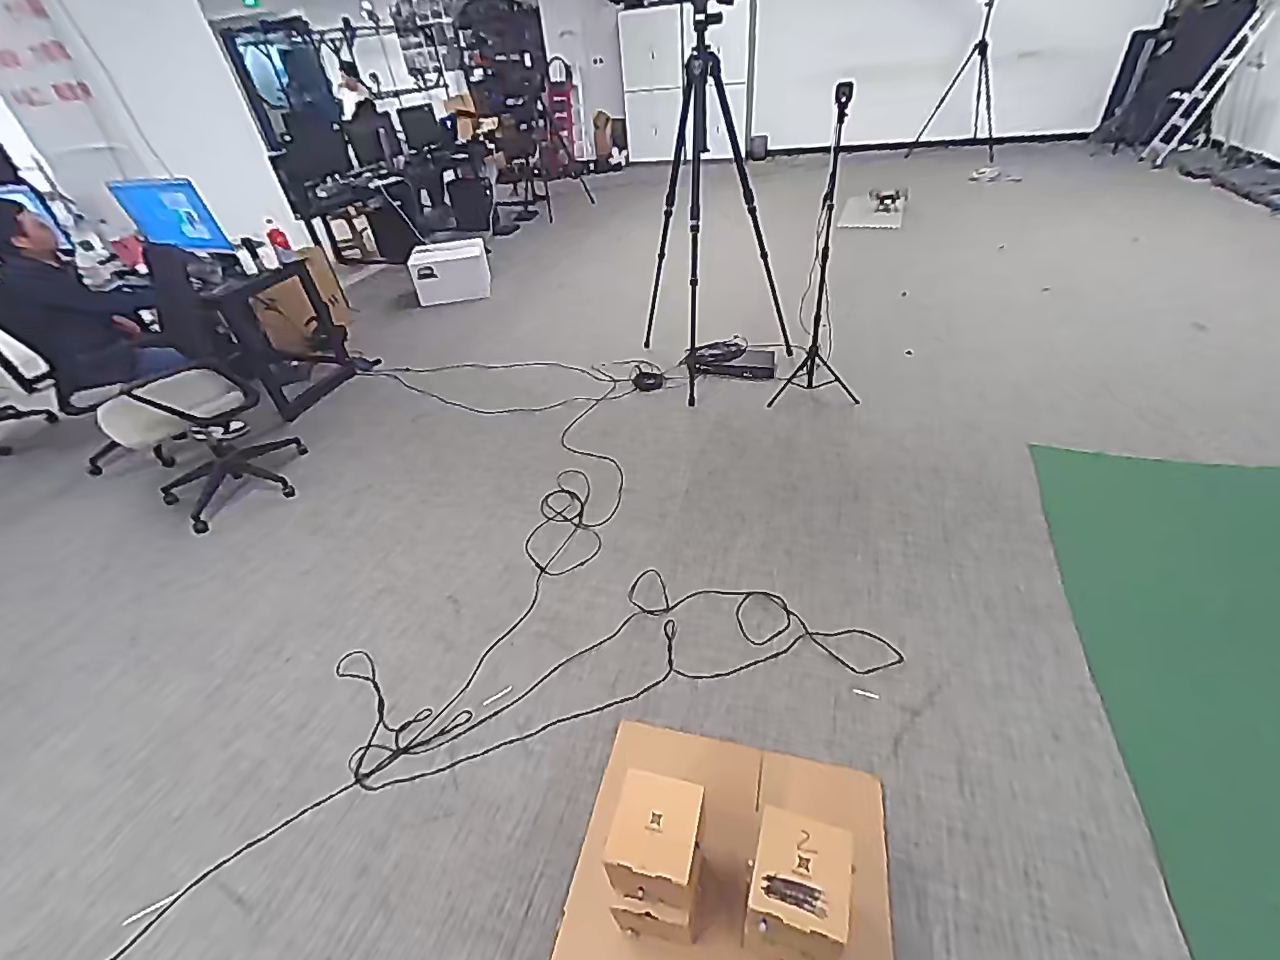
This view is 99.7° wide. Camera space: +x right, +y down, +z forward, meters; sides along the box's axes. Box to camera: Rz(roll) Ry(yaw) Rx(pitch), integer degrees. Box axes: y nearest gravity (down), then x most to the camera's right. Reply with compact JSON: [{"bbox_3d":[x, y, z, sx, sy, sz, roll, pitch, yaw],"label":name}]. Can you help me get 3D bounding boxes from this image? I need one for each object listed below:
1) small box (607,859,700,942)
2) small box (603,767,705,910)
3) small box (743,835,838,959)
[{"bbox_3d":[0.038,0.871,1.182,0.168,0.176,0.179,4,40,13],"label":"small box"},{"bbox_3d":[0.035,0.727,1.099,0.168,0.176,0.179,6,40,15],"label":"small box"},{"bbox_3d":[0.310,0.888,1.124,0.168,0.176,0.179,8,42,19],"label":"small box"}]
